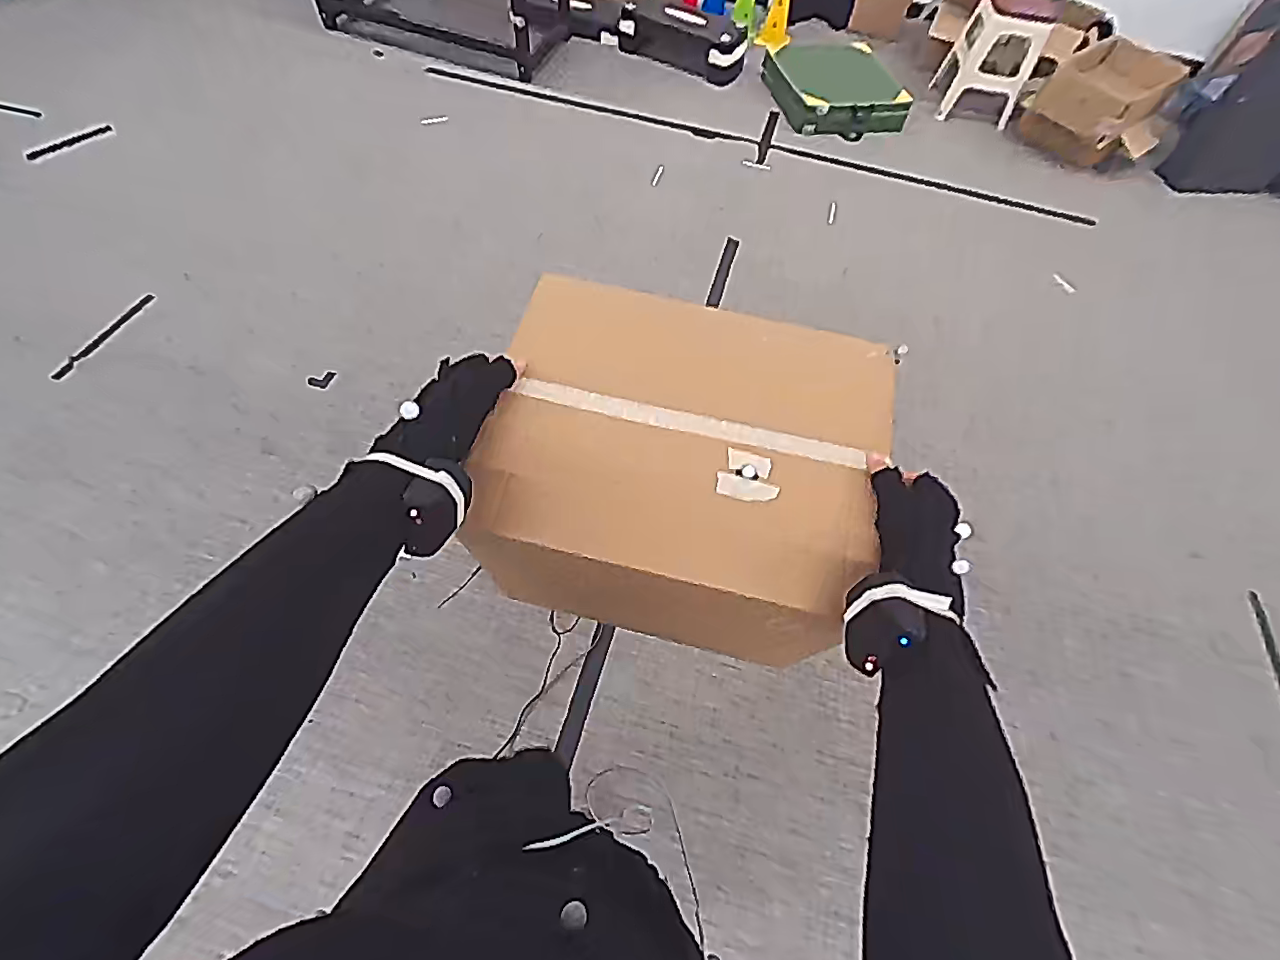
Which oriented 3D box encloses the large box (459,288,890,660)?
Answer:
[{"bbox_3d":[0.047,0.013,0.689,0.408,0.320,0.320,13,66,4],"label":"large box"}]
